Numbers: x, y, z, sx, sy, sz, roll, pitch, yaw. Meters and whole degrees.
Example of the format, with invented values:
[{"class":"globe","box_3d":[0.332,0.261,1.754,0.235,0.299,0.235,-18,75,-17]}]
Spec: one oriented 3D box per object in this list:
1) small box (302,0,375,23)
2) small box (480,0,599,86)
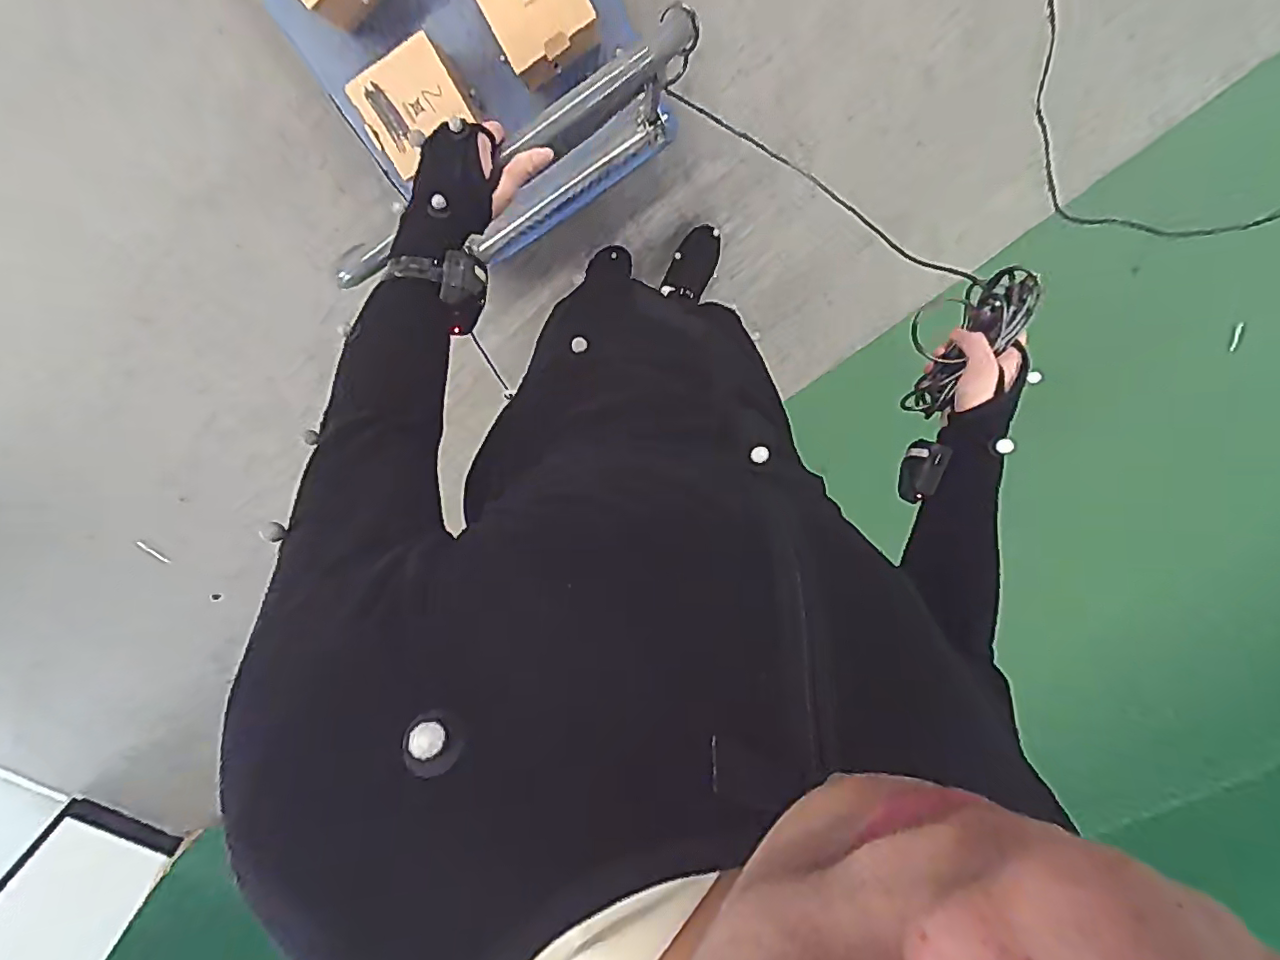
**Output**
[{"class":"small box","box_3d":[-0.528,-0.912,0.900,0.168,0.176,0.179,-33,115,13]},{"class":"small box","box_3d":[-0.186,-0.845,0.958,0.168,0.176,0.179,-28,117,12]}]
